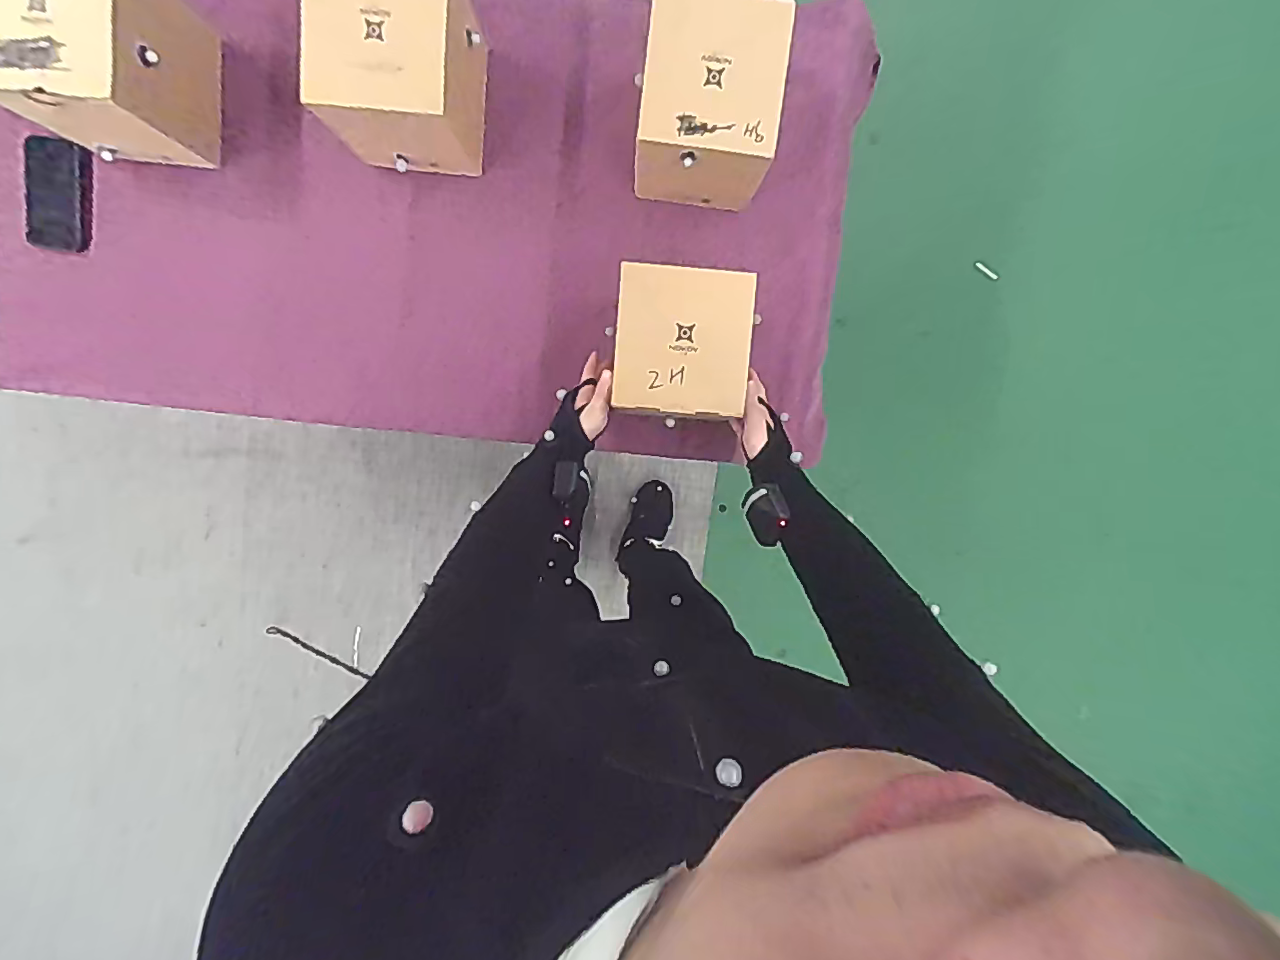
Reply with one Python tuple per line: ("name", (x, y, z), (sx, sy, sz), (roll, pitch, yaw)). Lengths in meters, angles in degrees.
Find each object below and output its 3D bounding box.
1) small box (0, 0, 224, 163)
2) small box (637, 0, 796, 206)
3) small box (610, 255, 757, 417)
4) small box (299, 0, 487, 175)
("small box", (-0.667, -0.531, 0.681), (0.168, 0.176, 0.179), (5, 96, -2))
("small box", (0.086, -0.485, 0.698), (0.168, 0.176, 0.179), (7, 96, -1))
("small box", (0.052, -0.181, 0.729), (0.168, 0.176, 0.179), (5, 95, 0))
("small box", (-0.301, -0.524, 0.689), (0.168, 0.176, 0.179), (5, 97, -1))
